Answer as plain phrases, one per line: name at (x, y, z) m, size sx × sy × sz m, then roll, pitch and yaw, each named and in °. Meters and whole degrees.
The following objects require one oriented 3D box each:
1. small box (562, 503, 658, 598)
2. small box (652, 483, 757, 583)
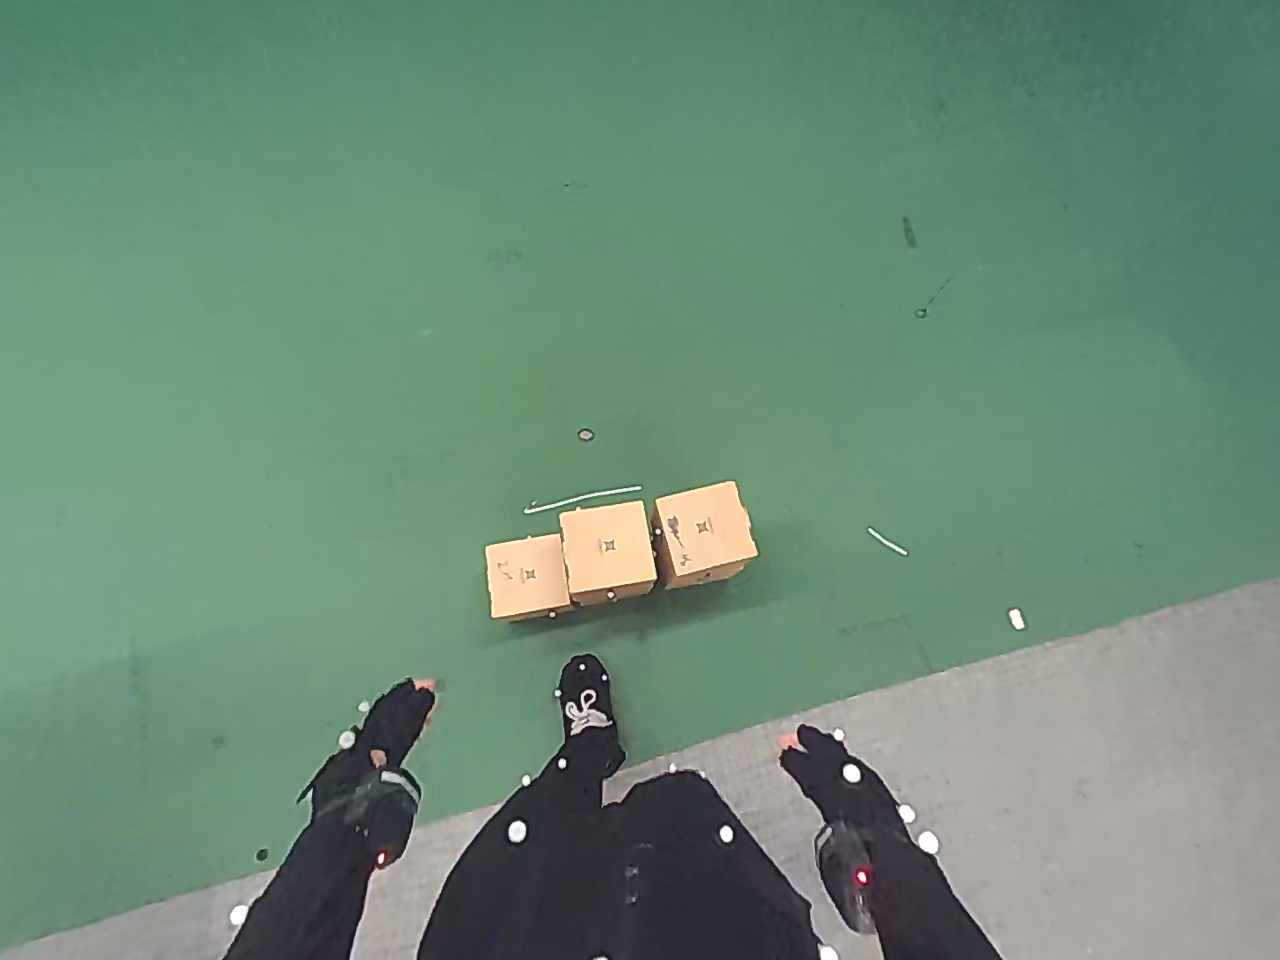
small box at (-0.065, 0.156, 1.160) m, size 0.179 × 0.176 × 0.168 m, roll -9°, pitch 74°, yaw -4°
small box at (0.131, 0.121, 1.181) m, size 0.179 × 0.176 × 0.168 m, roll -13°, pitch 73°, yaw -7°
